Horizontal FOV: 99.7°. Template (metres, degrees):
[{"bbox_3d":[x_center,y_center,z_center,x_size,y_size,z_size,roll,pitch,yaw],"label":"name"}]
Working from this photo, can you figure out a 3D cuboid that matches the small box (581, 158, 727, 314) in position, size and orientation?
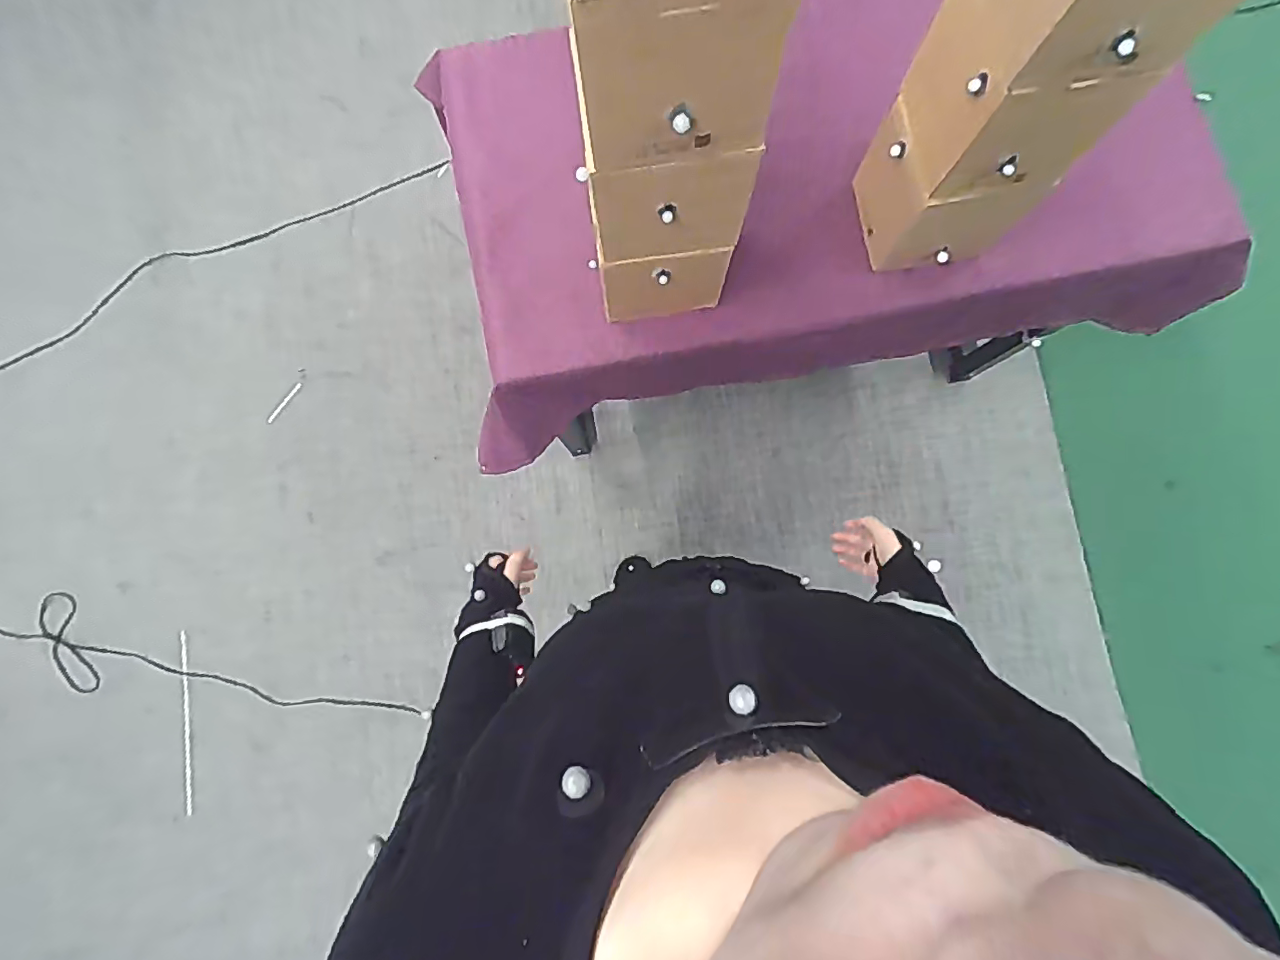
[{"bbox_3d":[0.018,-0.355,0.779,0.179,0.176,0.168,-7,83,-1],"label":"small box"}]

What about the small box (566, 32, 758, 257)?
[{"bbox_3d":[0.022,-0.381,0.618,0.179,0.176,0.168,-8,83,1],"label":"small box"}]

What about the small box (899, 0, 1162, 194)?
[{"bbox_3d":[0.426,-0.470,0.624,0.168,0.176,0.179,-8,83,0],"label":"small box"}]

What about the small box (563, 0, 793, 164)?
[{"bbox_3d":[0.018,-0.410,0.455,0.168,0.176,0.179,-9,83,0],"label":"small box"}]

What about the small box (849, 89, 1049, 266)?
[{"bbox_3d":[0.431,-0.437,0.784,0.179,0.176,0.168,-9,81,-1],"label":"small box"}]
